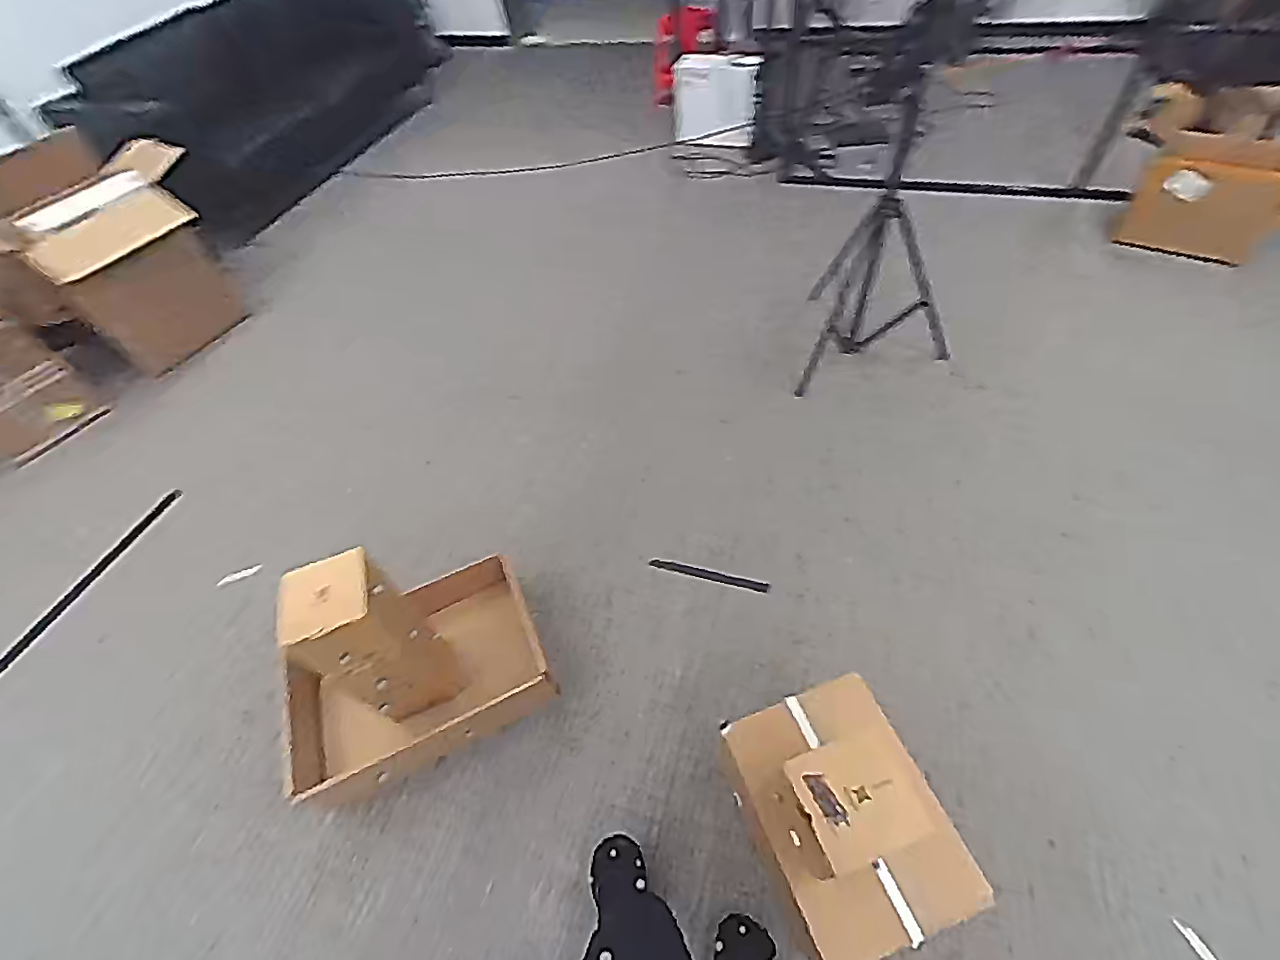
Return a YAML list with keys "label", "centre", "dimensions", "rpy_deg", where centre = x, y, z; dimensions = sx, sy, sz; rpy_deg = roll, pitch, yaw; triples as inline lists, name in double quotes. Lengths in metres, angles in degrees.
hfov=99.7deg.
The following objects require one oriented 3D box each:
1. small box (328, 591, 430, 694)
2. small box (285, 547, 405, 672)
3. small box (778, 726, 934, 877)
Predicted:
- label: "small box"
  centre: [-0.611, 0.386, 1.276]
  dimensions: [0.168, 0.176, 0.179]
  rpy_deg: [-19, 53, -9]
- label: "small box"
  centre: [-0.623, 0.278, 1.154]
  dimensions: [0.168, 0.176, 0.179]
  rpy_deg: [-20, 53, -9]
- label: "small box"
  centre: [0.347, 0.546, 0.913]
  dimensions: [0.179, 0.176, 0.168]
  rpy_deg: [-18, 54, -8]
